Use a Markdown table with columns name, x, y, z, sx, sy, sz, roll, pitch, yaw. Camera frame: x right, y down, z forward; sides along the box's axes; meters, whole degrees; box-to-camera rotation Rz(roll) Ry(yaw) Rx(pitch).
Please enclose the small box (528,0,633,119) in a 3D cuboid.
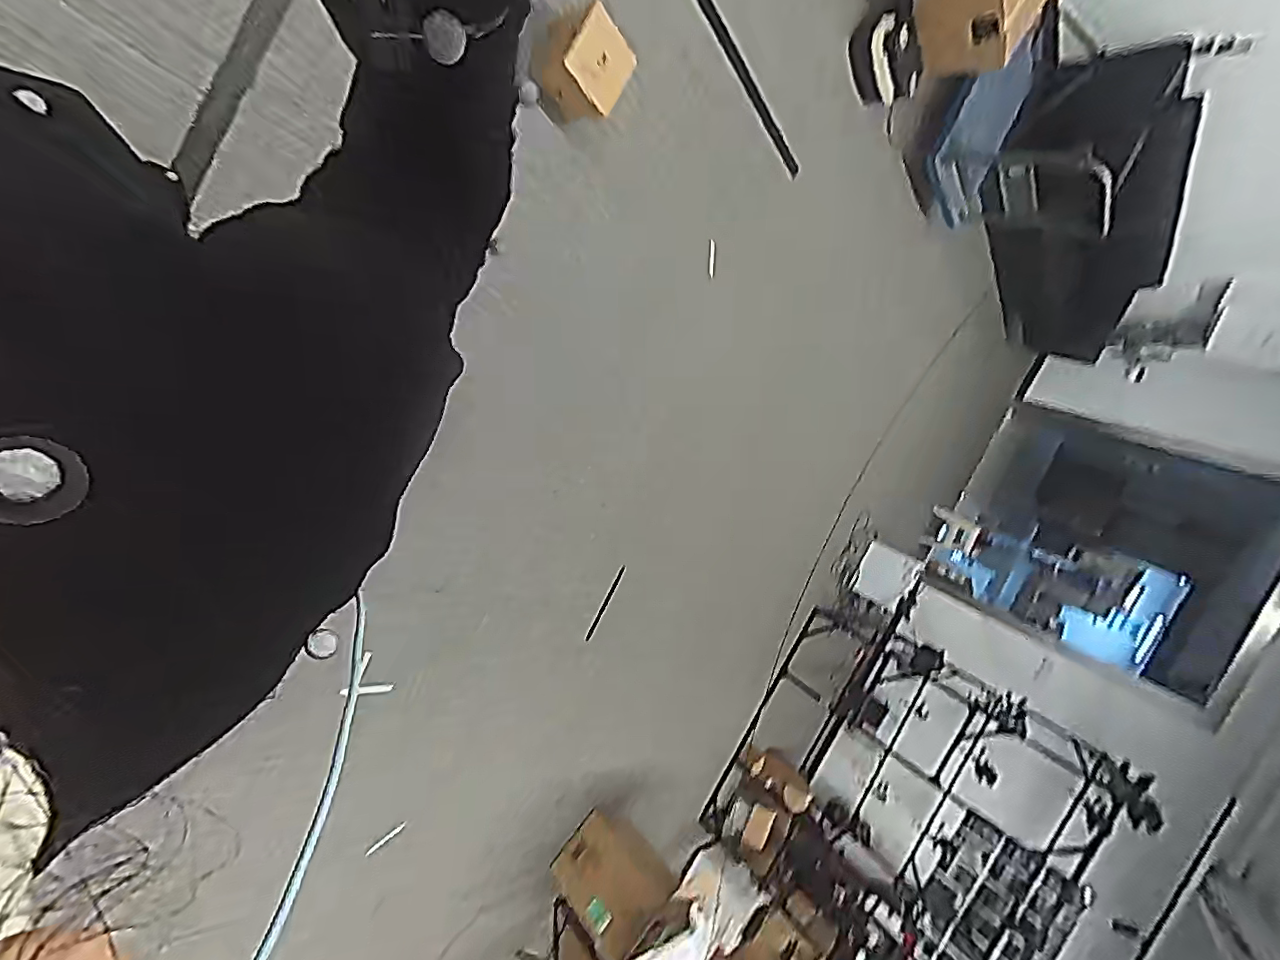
| name | x | y | z | sx | sy | sz | roll | pitch | yaw |
| --- | --- | --- | --- | --- | --- | --- | --- | --- | --- |
| small box | -0.157 | -1.070 | 1.393 | 0.168 | 0.176 | 0.179 | 27 | 92 | -50 |
